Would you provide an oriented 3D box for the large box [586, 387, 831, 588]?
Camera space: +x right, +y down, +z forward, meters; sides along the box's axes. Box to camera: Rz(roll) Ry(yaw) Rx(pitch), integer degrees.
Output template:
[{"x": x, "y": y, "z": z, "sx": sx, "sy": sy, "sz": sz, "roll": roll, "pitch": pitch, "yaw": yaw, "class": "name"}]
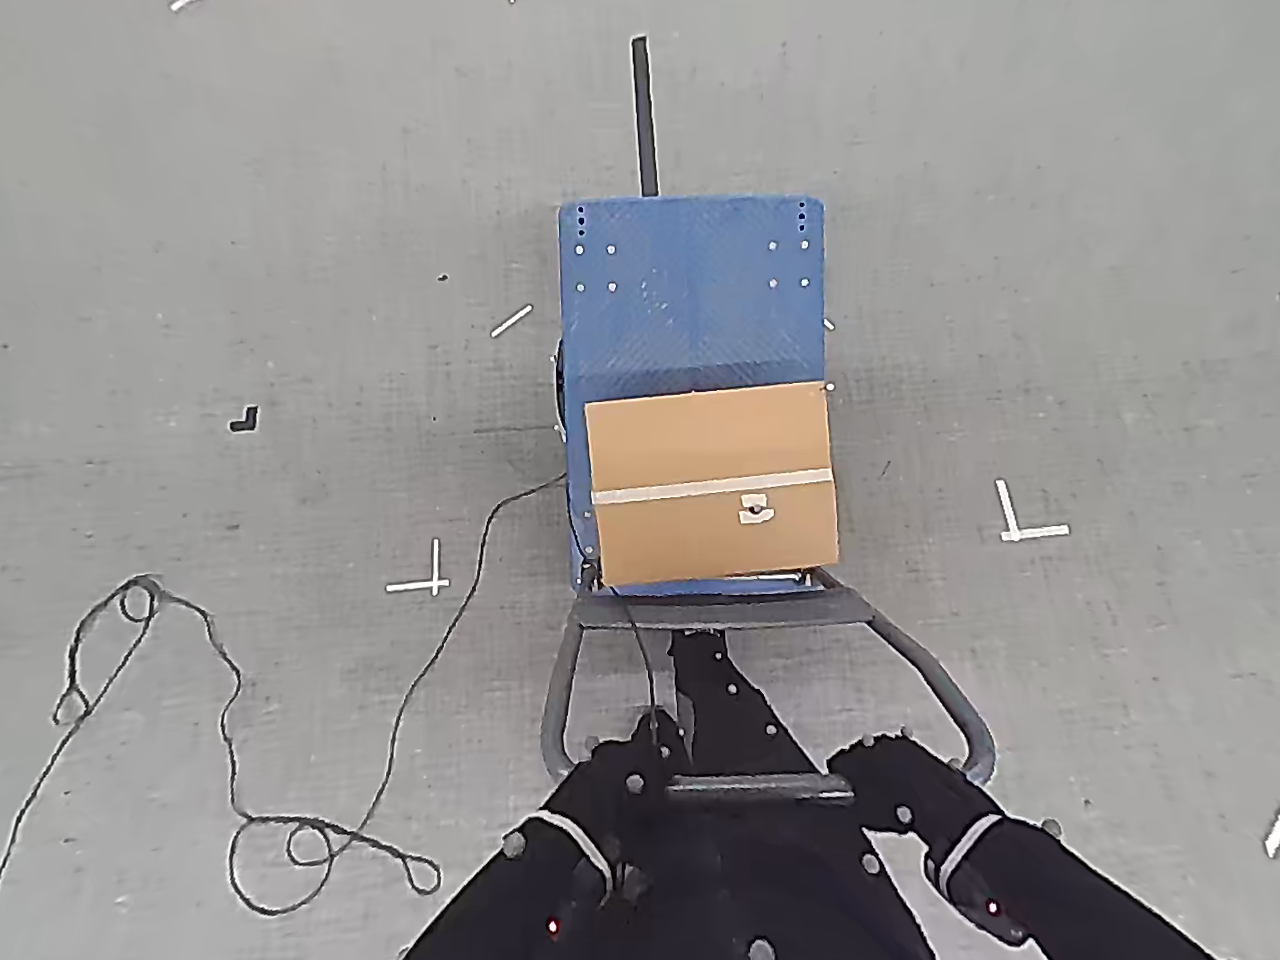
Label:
[{"x": 0.117, "y": 0.005, "z": 1.078, "sx": 0.408, "sy": 0.320, "sz": 0.320, "roll": -6, "pitch": 94, "yaw": -1, "class": "large box"}]
